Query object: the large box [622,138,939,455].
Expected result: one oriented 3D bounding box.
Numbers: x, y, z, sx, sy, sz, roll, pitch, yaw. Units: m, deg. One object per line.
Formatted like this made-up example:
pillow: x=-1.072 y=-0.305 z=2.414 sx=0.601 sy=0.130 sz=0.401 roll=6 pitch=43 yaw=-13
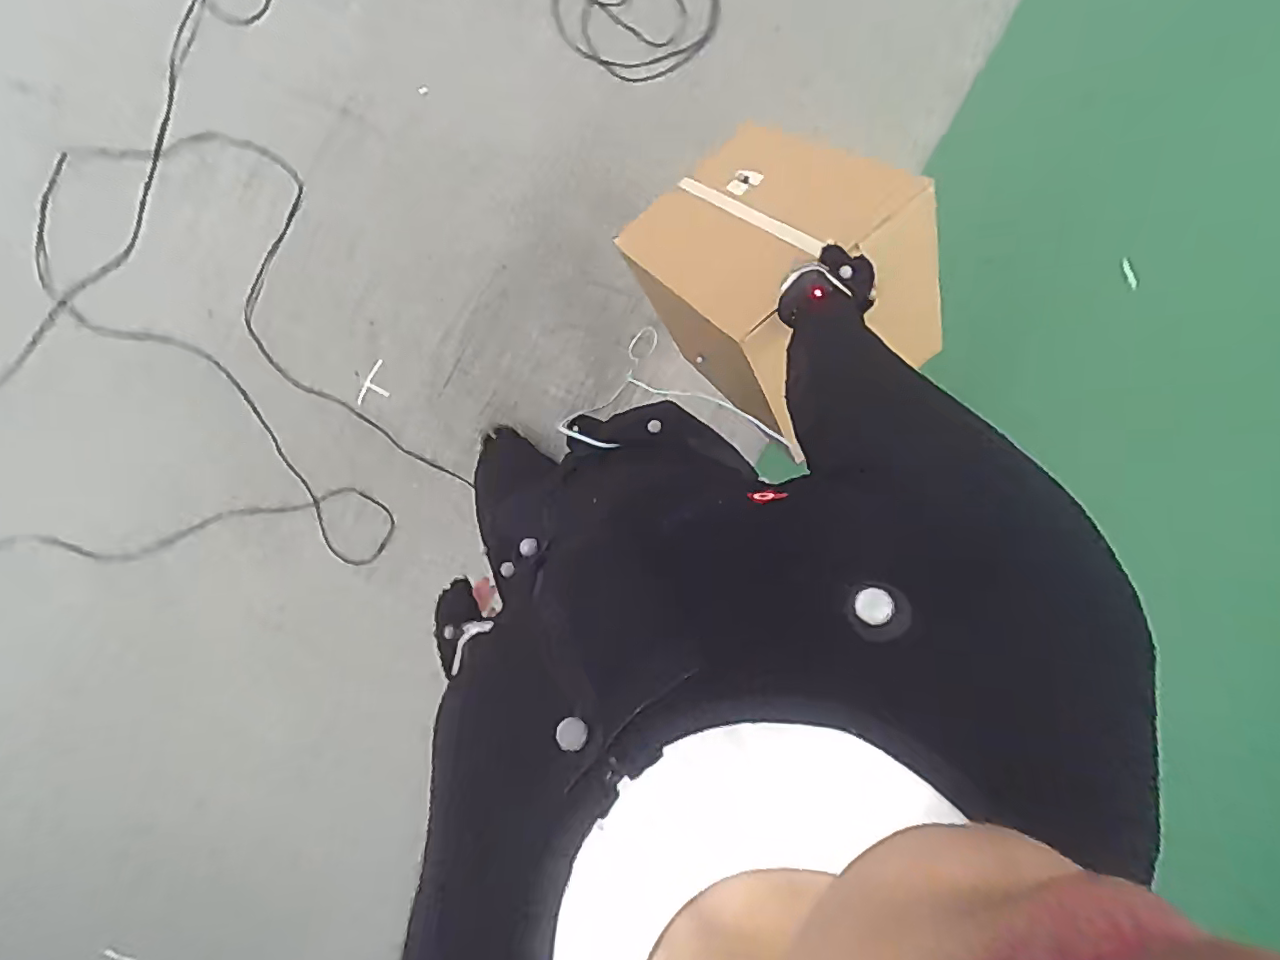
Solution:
large box: x=0.239 y=-0.320 z=0.945 sx=0.320 sy=0.408 sz=0.320 roll=-38 pitch=138 yaw=3
